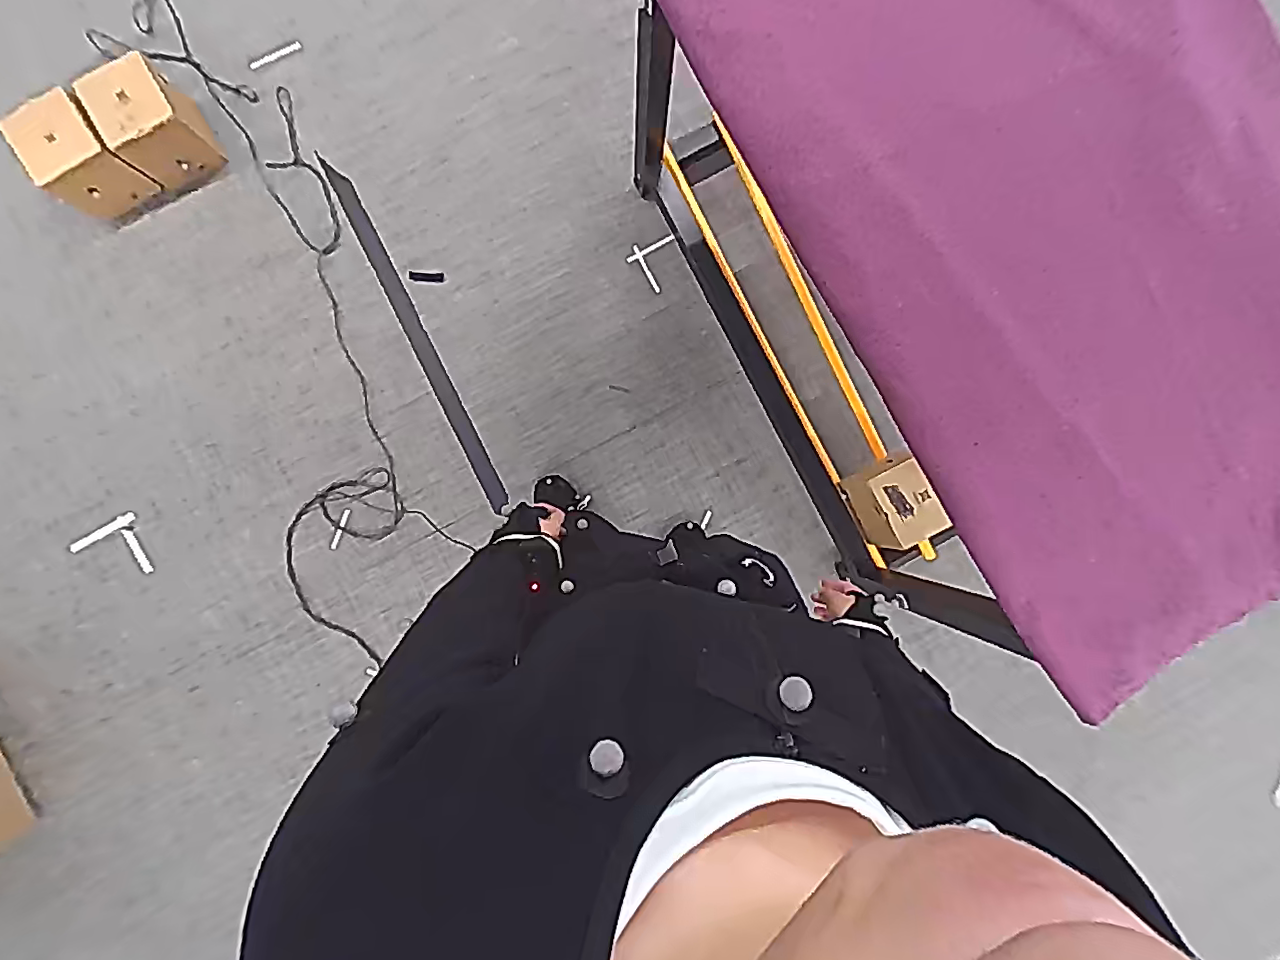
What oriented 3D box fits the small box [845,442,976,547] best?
[{"bbox_3d":[0.580,0.034,1.193,0.179,0.176,0.168,-27,89,-3],"label":"small box"}]
